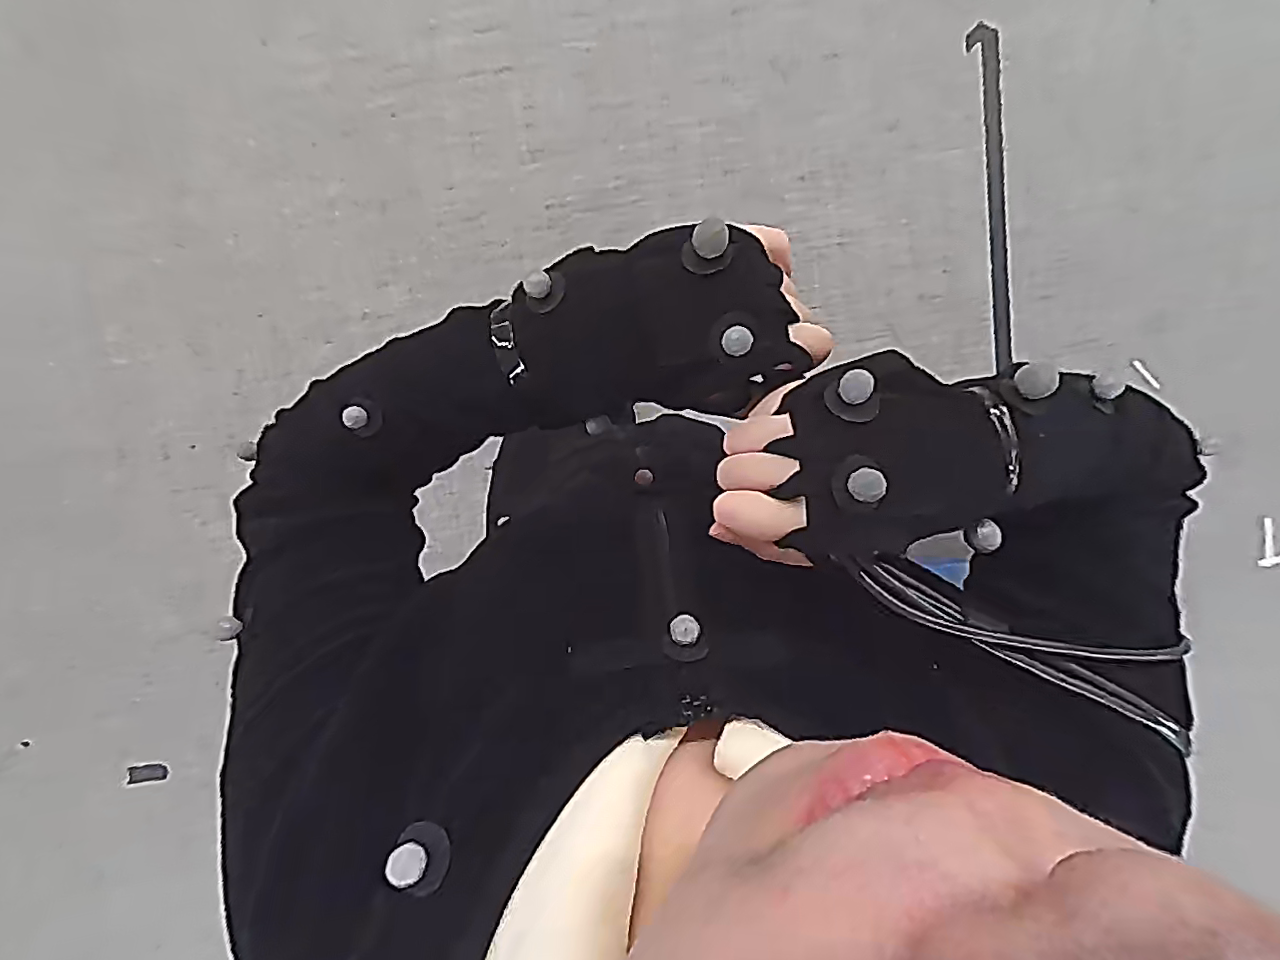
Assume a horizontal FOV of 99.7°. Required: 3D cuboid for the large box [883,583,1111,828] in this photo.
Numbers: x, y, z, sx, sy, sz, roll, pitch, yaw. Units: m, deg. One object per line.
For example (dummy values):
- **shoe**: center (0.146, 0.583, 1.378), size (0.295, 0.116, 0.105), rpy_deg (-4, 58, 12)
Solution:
- **large box**: center (0.840, 0.518, 1.309), size (0.320, 0.320, 0.408), rpy_deg (-14, 99, -3)
